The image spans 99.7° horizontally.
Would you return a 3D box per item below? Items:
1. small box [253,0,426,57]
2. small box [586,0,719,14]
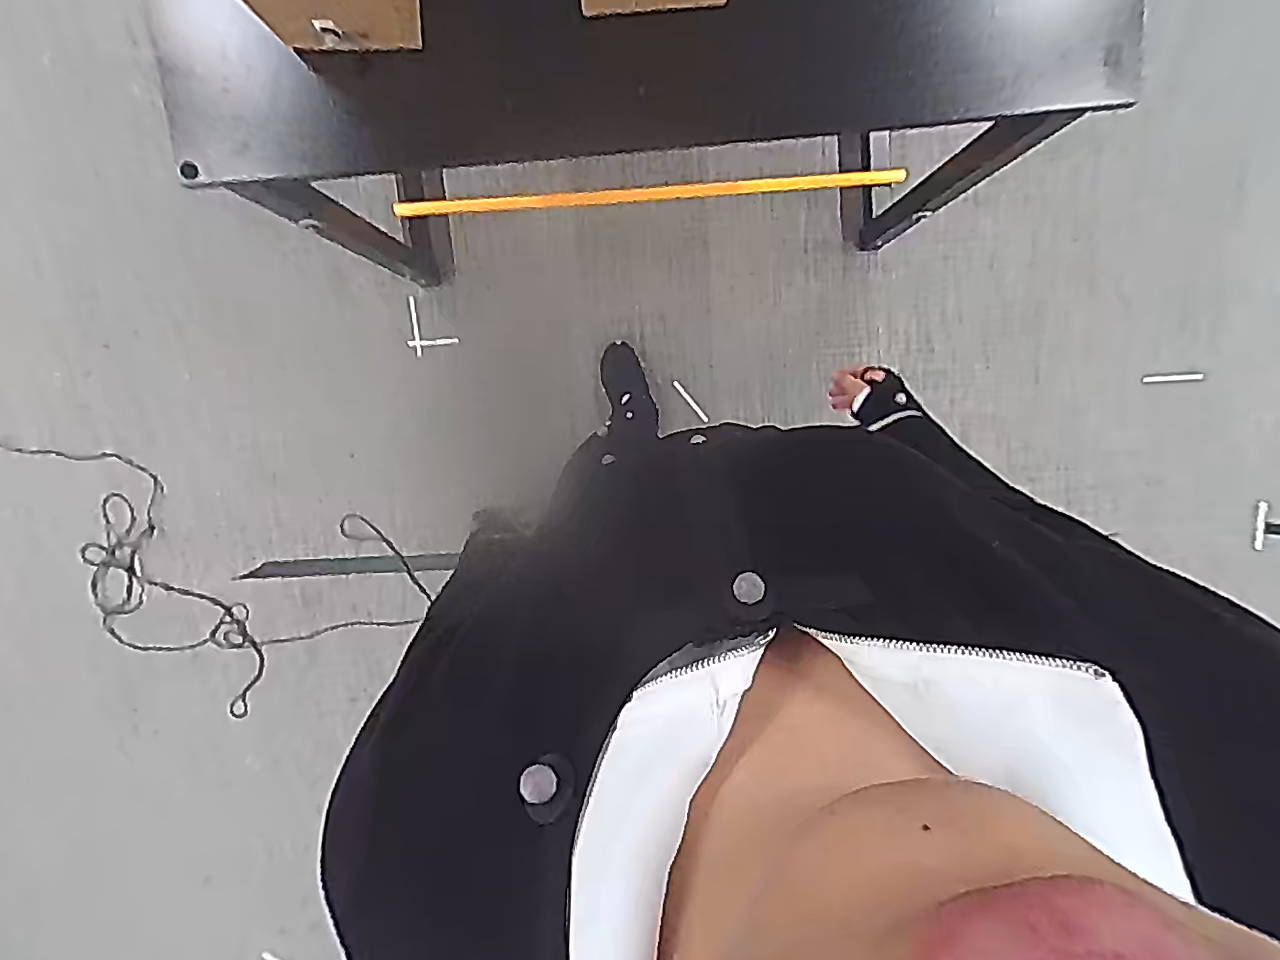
[{"bbox_3d":[-0.346,-0.600,0.578,0.168,0.176,0.179,-1,99,2],"label":"small box"},{"bbox_3d":[0.014,-0.637,0.567,0.179,0.176,0.168,-4,98,1],"label":"small box"}]
